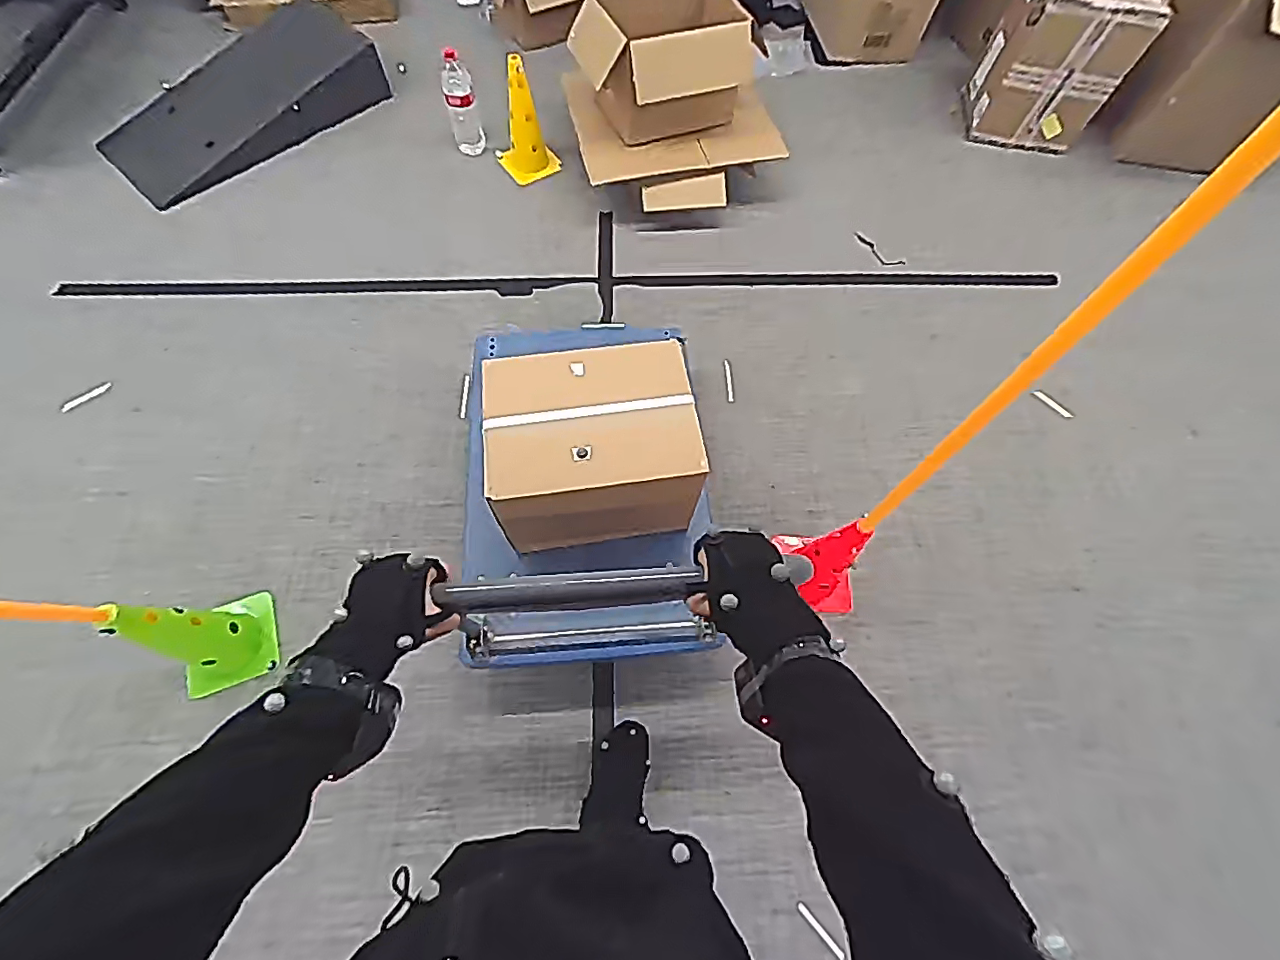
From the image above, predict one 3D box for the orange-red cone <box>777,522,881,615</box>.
[{"bbox_3d":[0.464,0.174,1.251,0.199,0.360,0.198,5,65,-1],"label":"orange-red cone"}]
